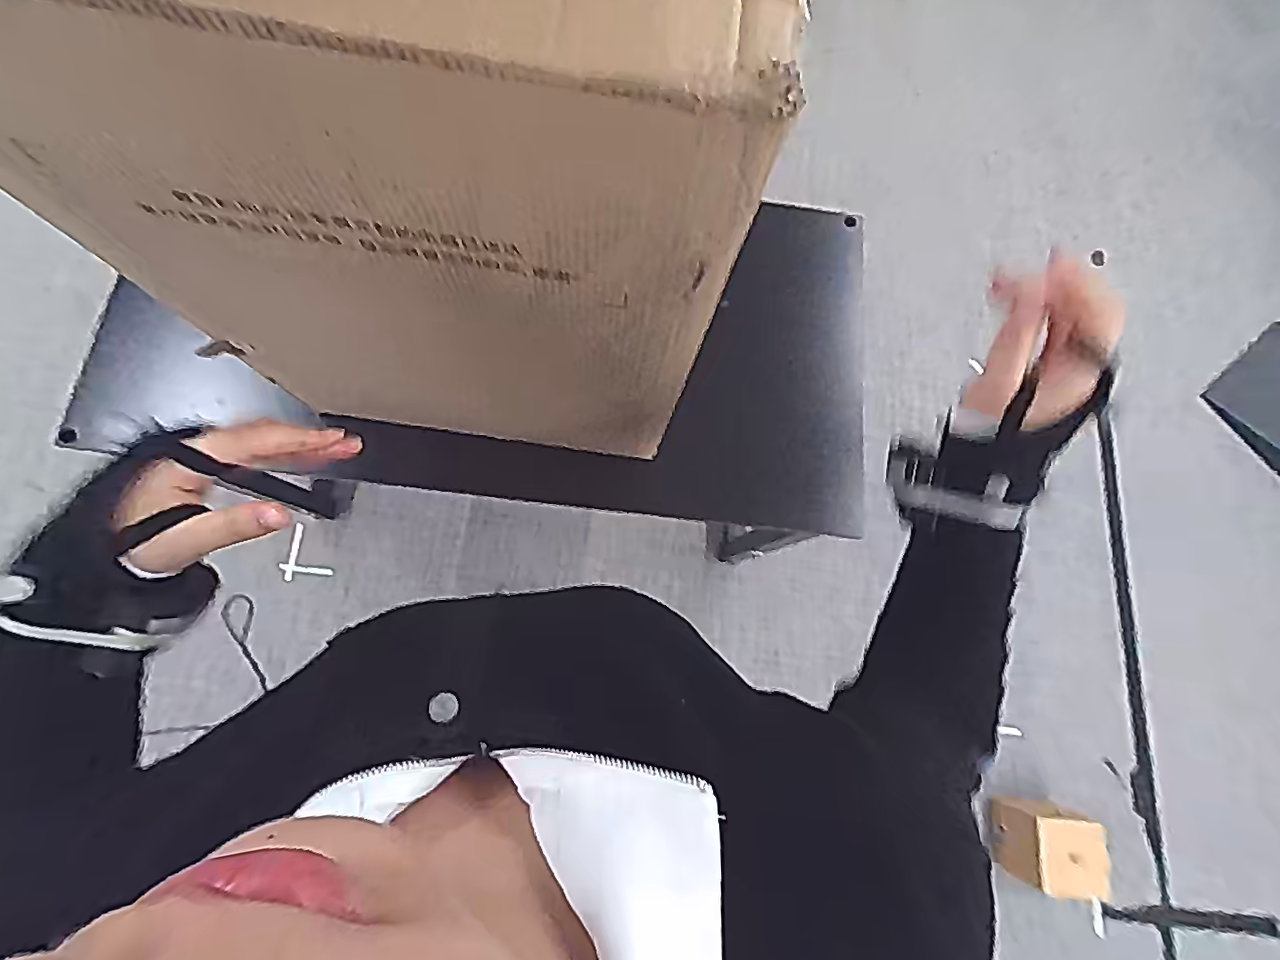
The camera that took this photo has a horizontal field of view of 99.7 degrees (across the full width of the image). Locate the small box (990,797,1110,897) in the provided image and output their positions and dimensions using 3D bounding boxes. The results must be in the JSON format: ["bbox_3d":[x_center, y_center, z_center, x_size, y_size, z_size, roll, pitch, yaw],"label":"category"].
[{"bbox_3d":[1.044,0.934,1.389,0.179,0.176,0.168,6,75,-3],"label":"small box"}]
